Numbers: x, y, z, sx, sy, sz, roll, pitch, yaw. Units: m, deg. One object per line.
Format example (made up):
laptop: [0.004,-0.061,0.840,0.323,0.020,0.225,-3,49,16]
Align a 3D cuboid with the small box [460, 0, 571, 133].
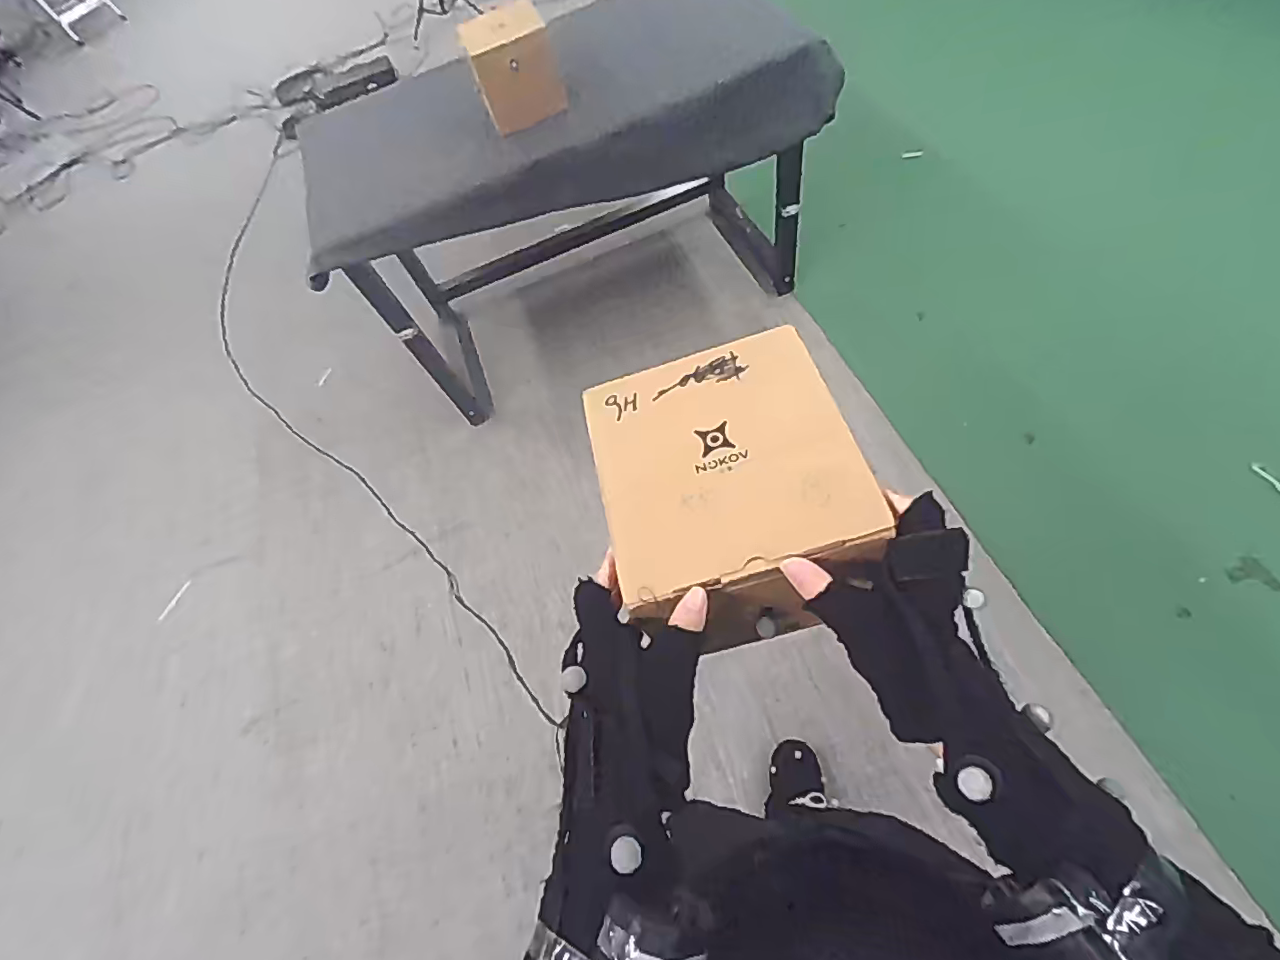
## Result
small box: [-0.275,-0.921,1.214,0.179,0.176,0.168,-23,61,-2]

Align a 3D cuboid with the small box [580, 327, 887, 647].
small box: [0.067,0.021,0.423,0.168,0.176,0.179,-17,59,5]
